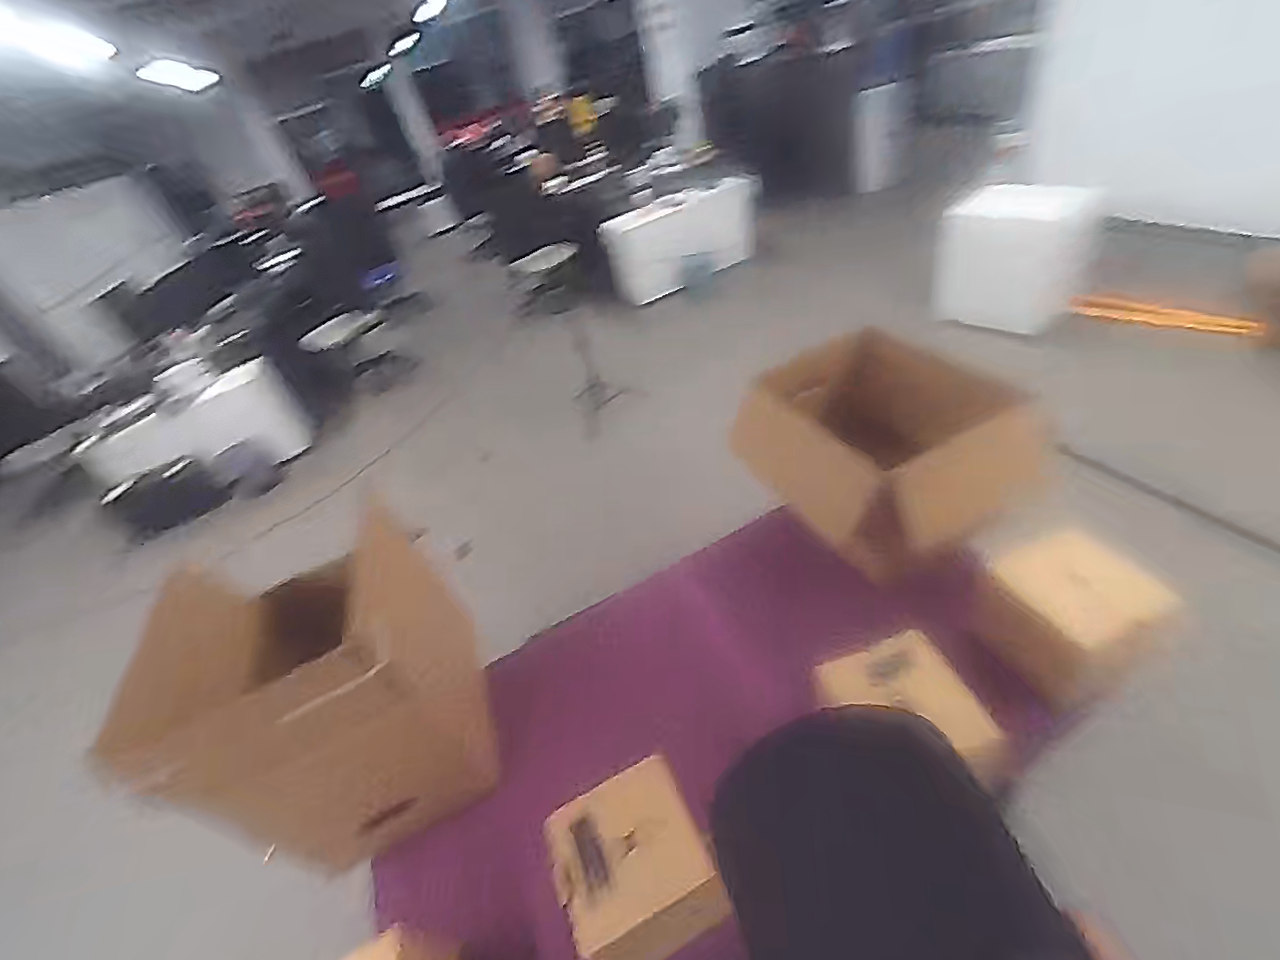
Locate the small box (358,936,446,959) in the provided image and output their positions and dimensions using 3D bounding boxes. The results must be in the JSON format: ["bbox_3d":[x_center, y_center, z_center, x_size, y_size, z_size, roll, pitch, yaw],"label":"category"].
[{"bbox_3d":[-0.323,0.711,0.651,0.179,0.176,0.168,-28,39,-13],"label":"small box"}]
